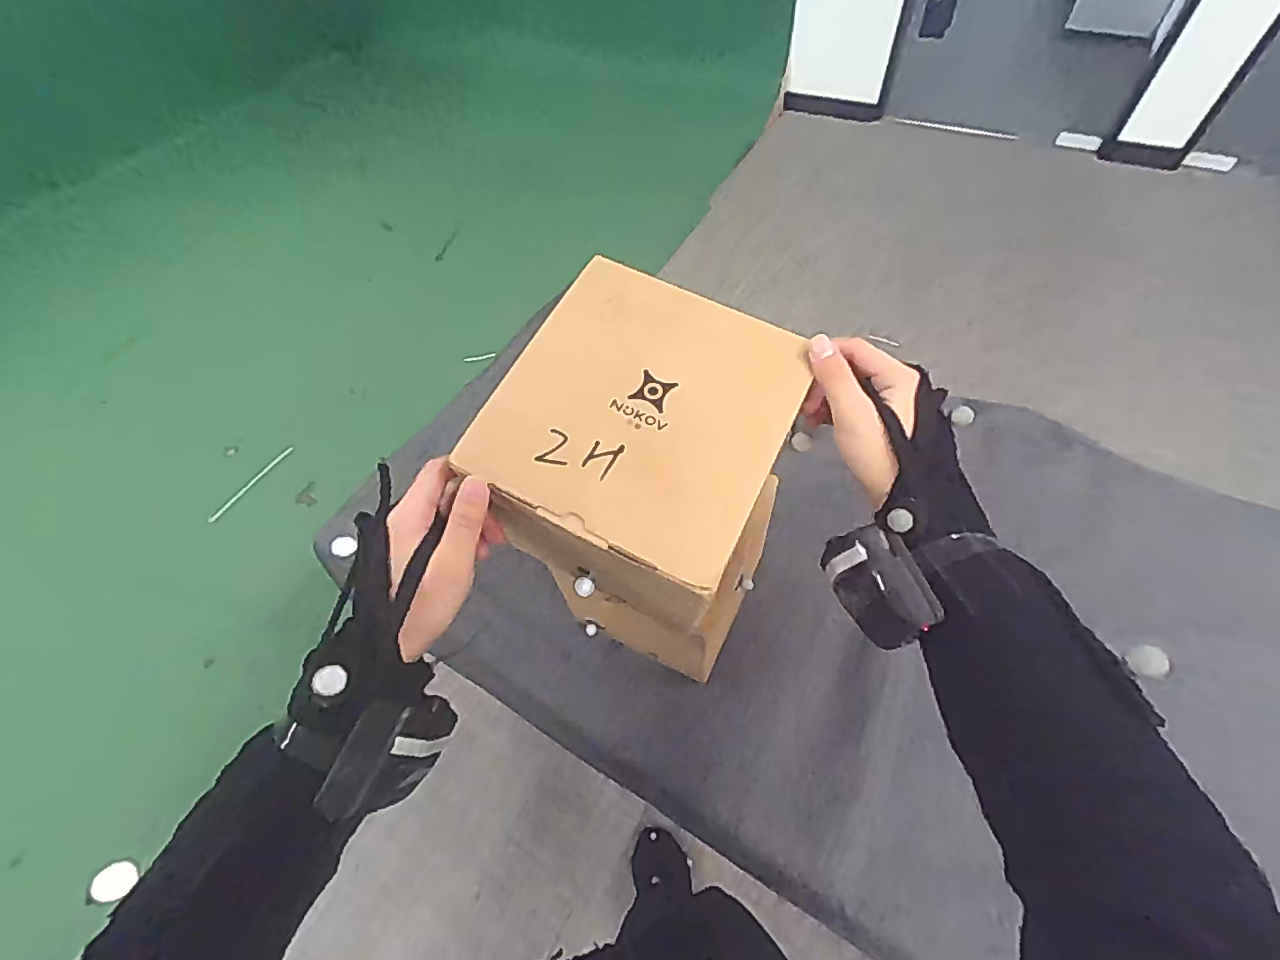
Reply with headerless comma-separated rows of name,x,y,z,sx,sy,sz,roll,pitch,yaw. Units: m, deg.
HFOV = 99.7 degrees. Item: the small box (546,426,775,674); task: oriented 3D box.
small box,0.029,0.080,0.577,0.168,0.176,0.179,22,60,18
